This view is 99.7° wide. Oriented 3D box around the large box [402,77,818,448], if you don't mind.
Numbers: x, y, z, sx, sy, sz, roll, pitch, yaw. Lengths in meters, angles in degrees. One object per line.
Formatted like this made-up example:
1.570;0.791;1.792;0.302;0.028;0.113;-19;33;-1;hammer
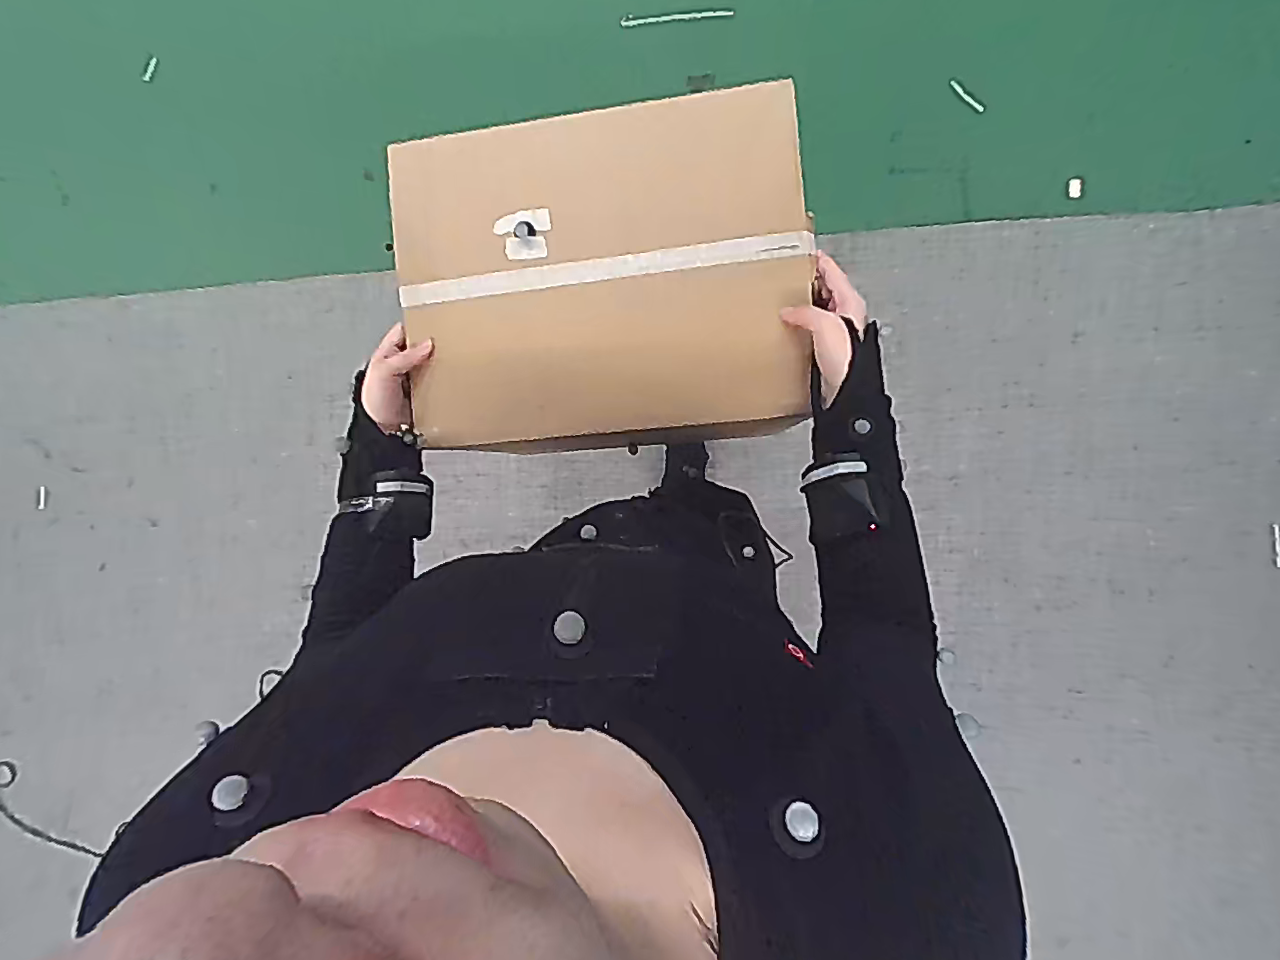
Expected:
-0.018;-0.215;0.686;0.408;0.320;0.320;-5;90;9;large box
